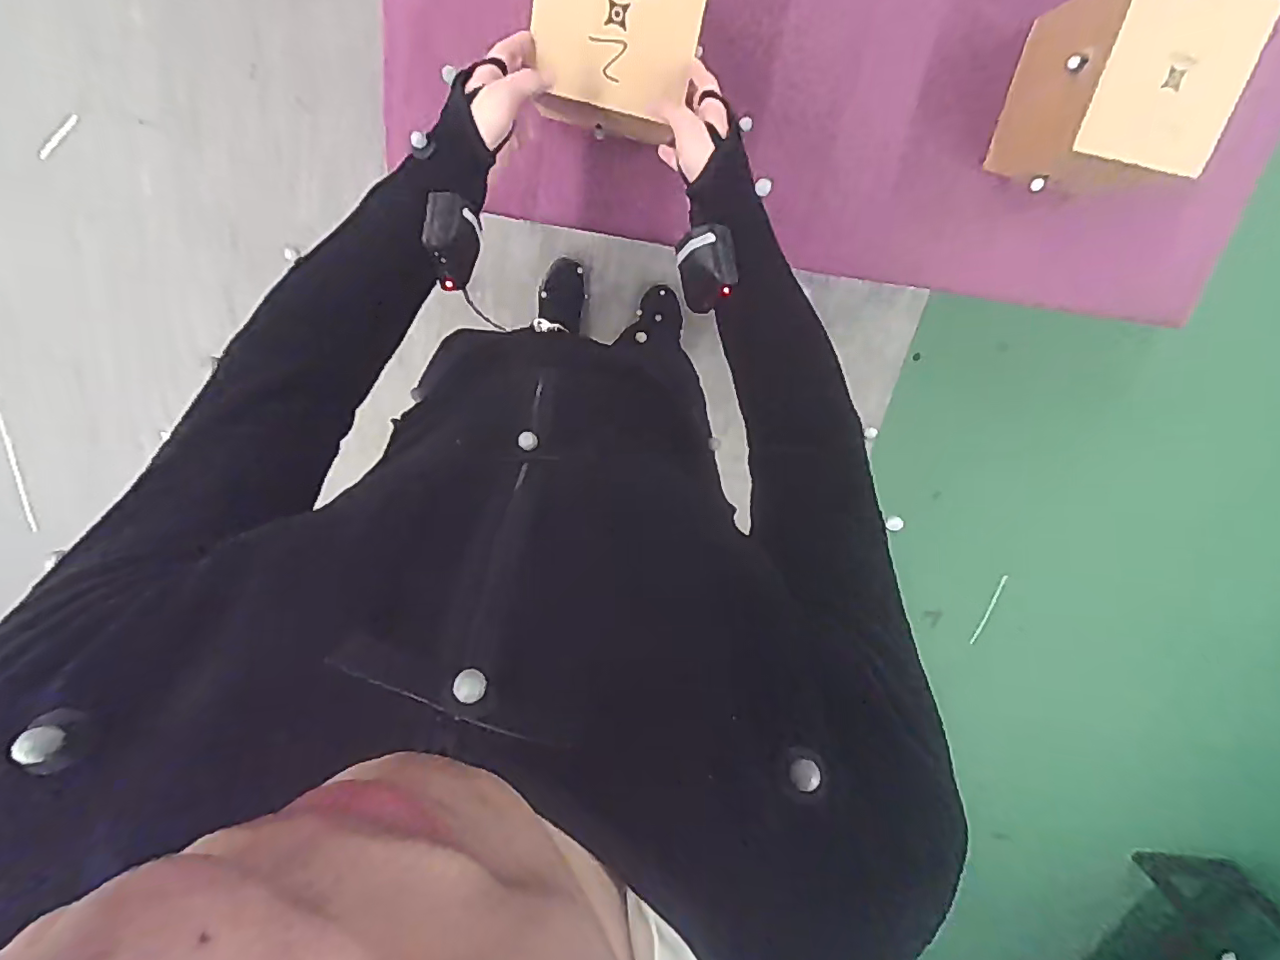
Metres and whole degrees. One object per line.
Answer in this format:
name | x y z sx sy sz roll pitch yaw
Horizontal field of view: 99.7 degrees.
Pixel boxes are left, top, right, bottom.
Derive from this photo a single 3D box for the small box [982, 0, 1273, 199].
small box | 0.566 -0.462 0.661 0.168 0.176 0.179 9 111 -6
